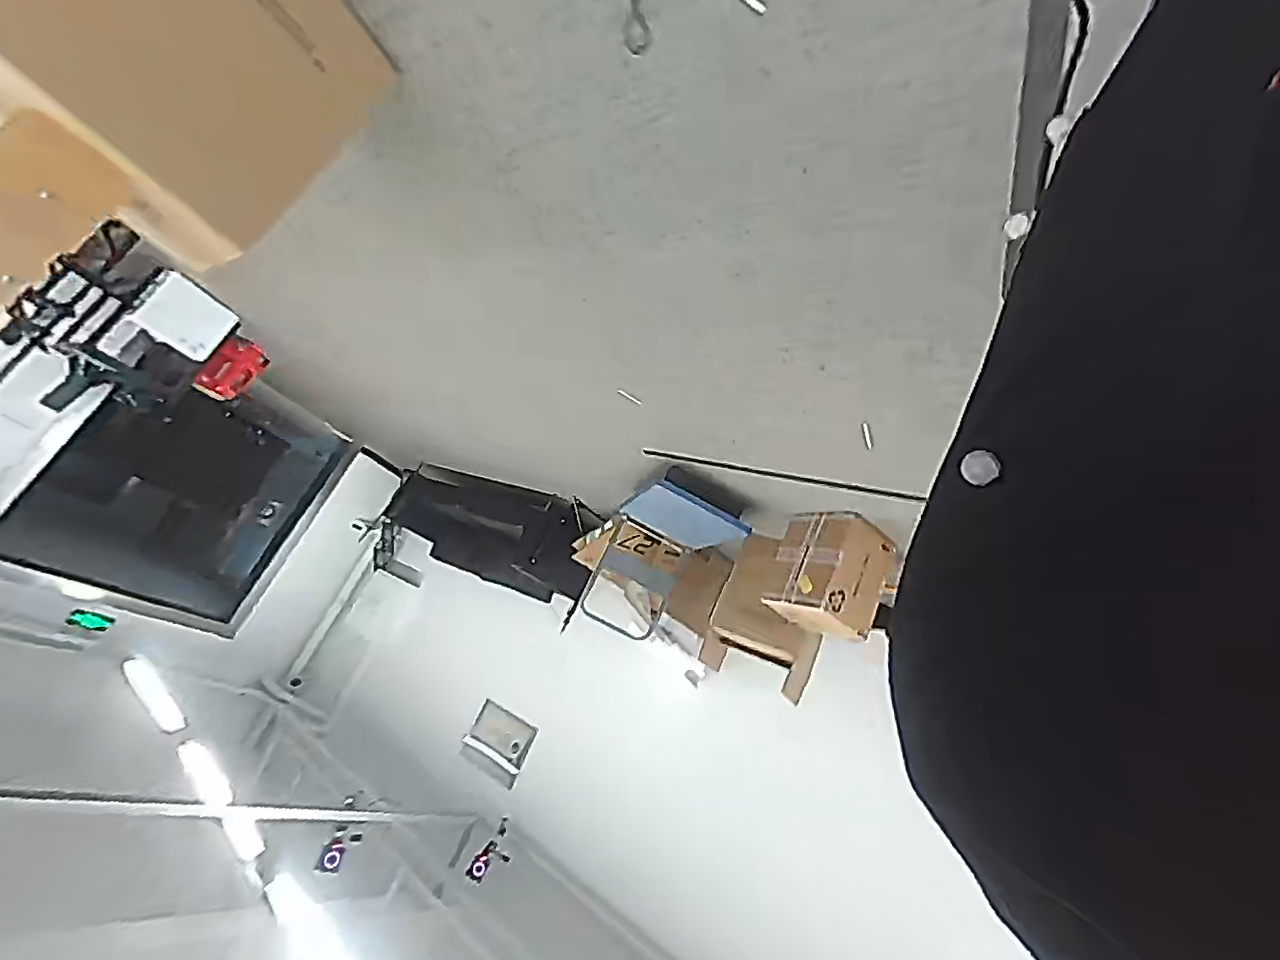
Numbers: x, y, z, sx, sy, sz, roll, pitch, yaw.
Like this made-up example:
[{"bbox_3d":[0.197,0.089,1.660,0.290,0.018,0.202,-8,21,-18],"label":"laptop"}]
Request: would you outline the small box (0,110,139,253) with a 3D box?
[{"bbox_3d":[-1.141,-0.575,1.045,0.168,0.176,0.179,11,157,37],"label":"small box"}]
